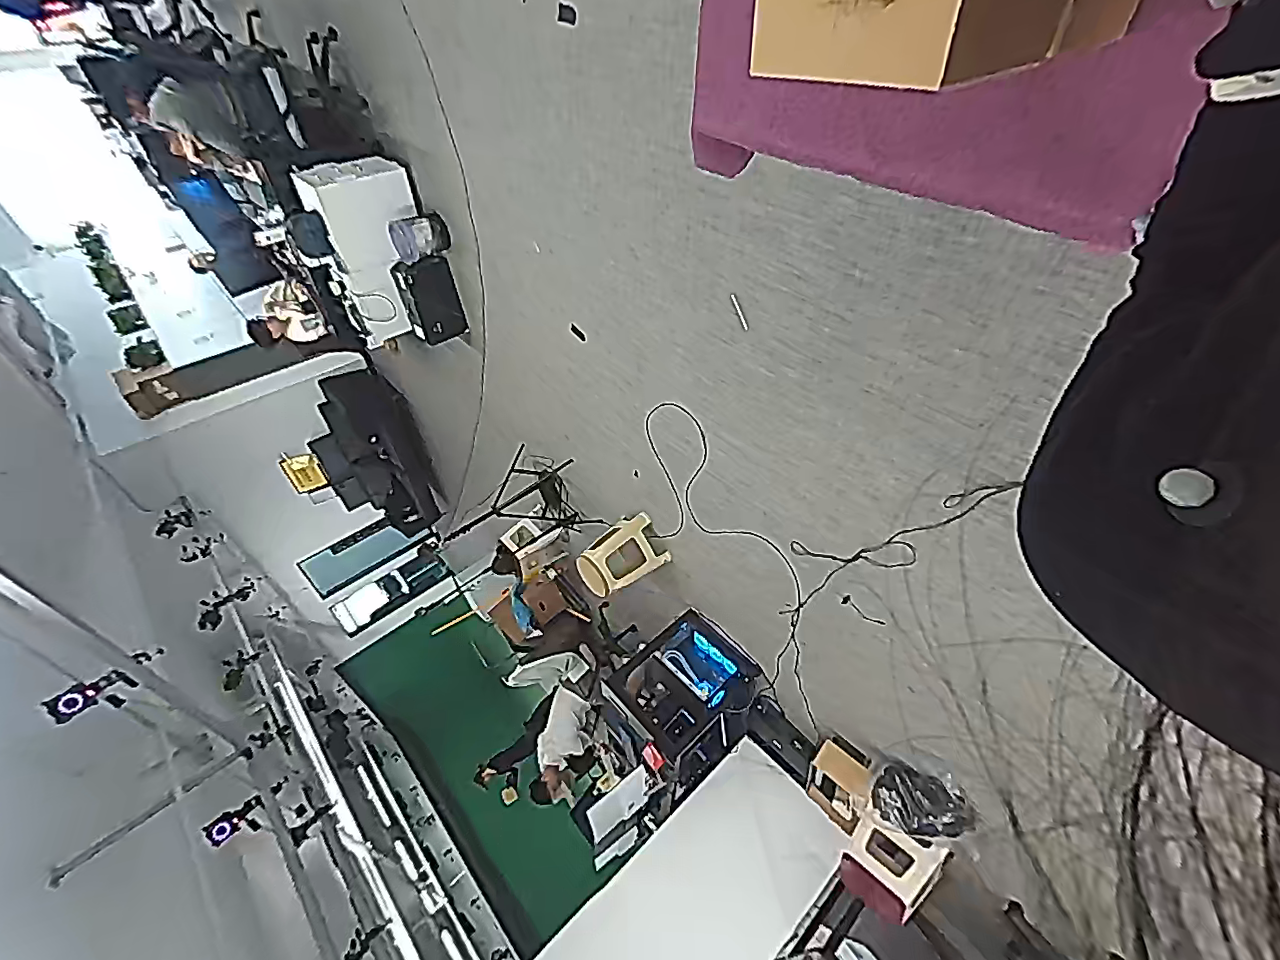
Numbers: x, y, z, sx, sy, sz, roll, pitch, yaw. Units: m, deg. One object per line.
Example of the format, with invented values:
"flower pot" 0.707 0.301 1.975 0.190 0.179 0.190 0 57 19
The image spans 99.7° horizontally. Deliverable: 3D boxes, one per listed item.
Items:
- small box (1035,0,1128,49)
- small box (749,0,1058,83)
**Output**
"small box" 0.323 -0.481 0.459 0.179 0.176 0.168 37 146 33
"small box" 0.201 -0.404 0.383 0.168 0.176 0.179 38 147 36
